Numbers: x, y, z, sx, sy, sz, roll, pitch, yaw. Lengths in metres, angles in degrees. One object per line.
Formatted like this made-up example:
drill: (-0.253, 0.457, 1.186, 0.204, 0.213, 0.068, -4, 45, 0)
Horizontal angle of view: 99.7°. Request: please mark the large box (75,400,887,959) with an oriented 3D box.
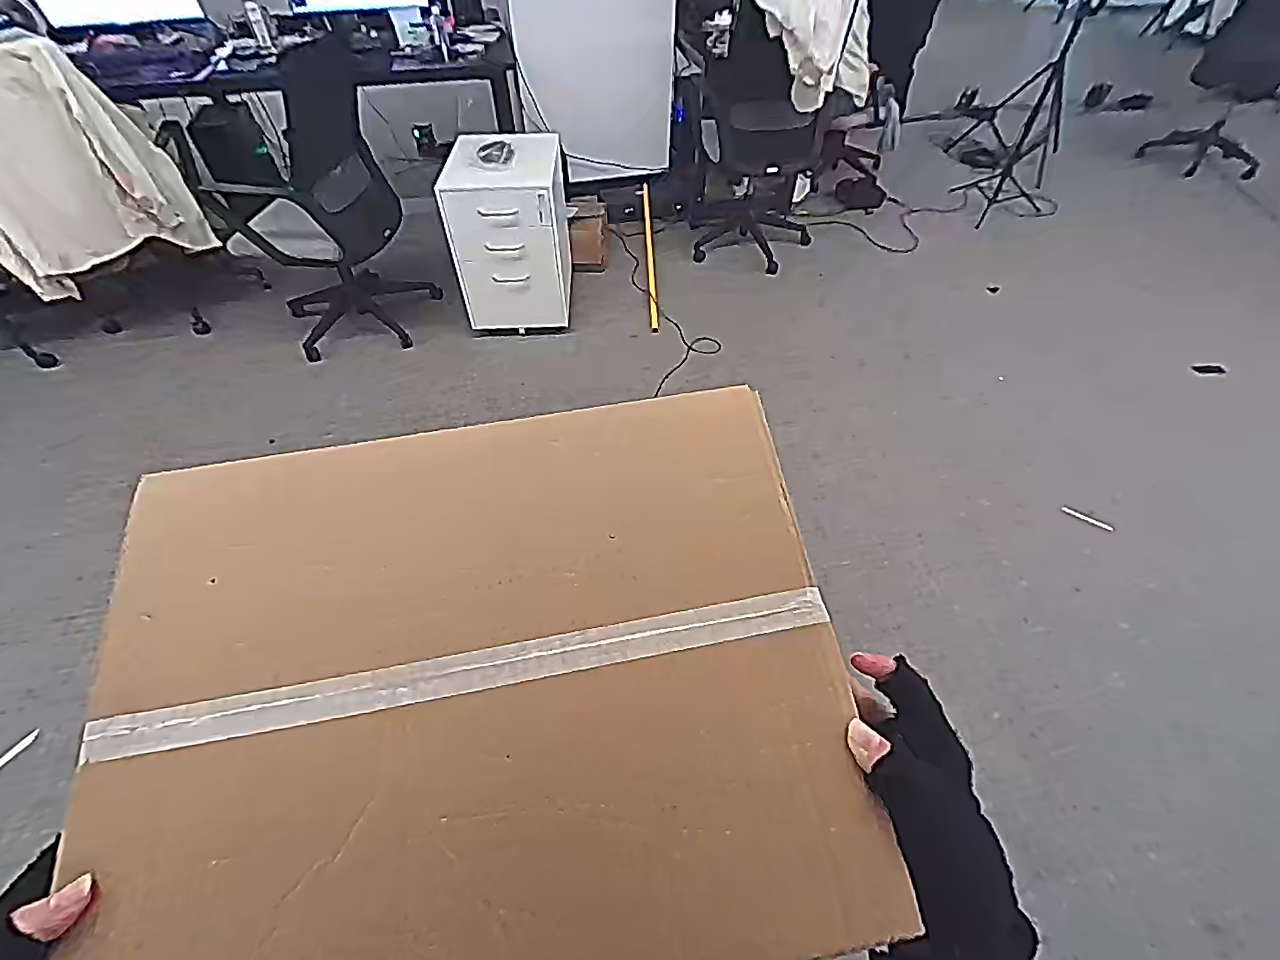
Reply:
large box: (-0.094, 0.171, 0.451, 0.408, 0.320, 0.320, -10, 66, -4)
